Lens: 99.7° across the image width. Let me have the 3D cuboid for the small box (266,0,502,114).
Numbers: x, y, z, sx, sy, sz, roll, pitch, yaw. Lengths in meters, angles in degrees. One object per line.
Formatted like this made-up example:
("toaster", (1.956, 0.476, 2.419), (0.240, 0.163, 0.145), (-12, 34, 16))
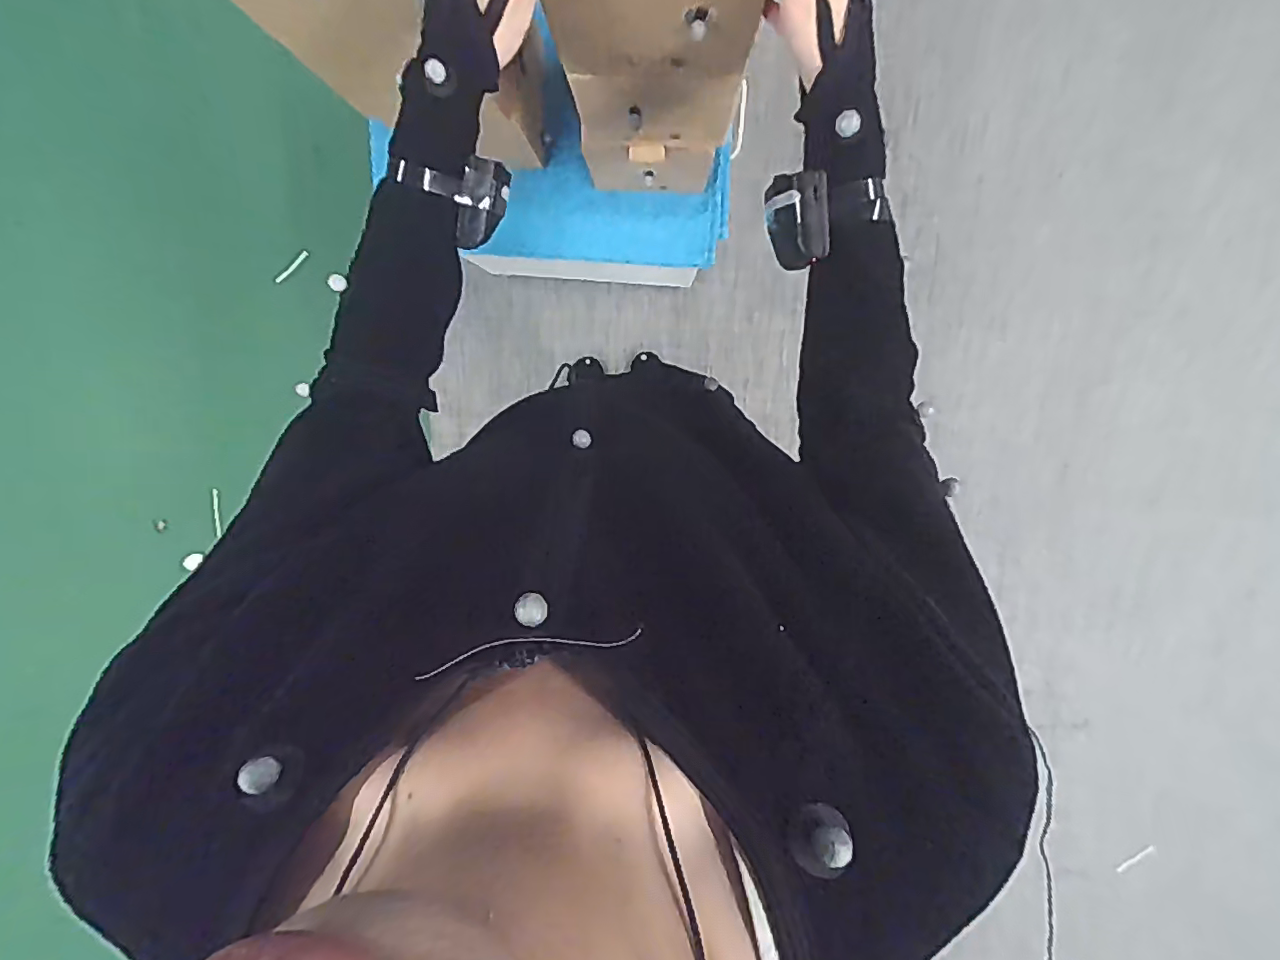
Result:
("small box", (-0.241, -0.496, 0.544), (0.179, 0.176, 0.168), (2, 101, 1))

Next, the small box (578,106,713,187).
("small box", (0.014, -0.500, 0.706), (0.168, 0.176, 0.179), (3, 102, 1))

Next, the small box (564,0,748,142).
("small box", (0.018, -0.467, 0.548), (0.168, 0.176, 0.179), (1, 101, 2))

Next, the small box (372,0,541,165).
("small box", (-0.228, -0.530, 0.704), (0.179, 0.176, 0.168), (2, 101, 1))
